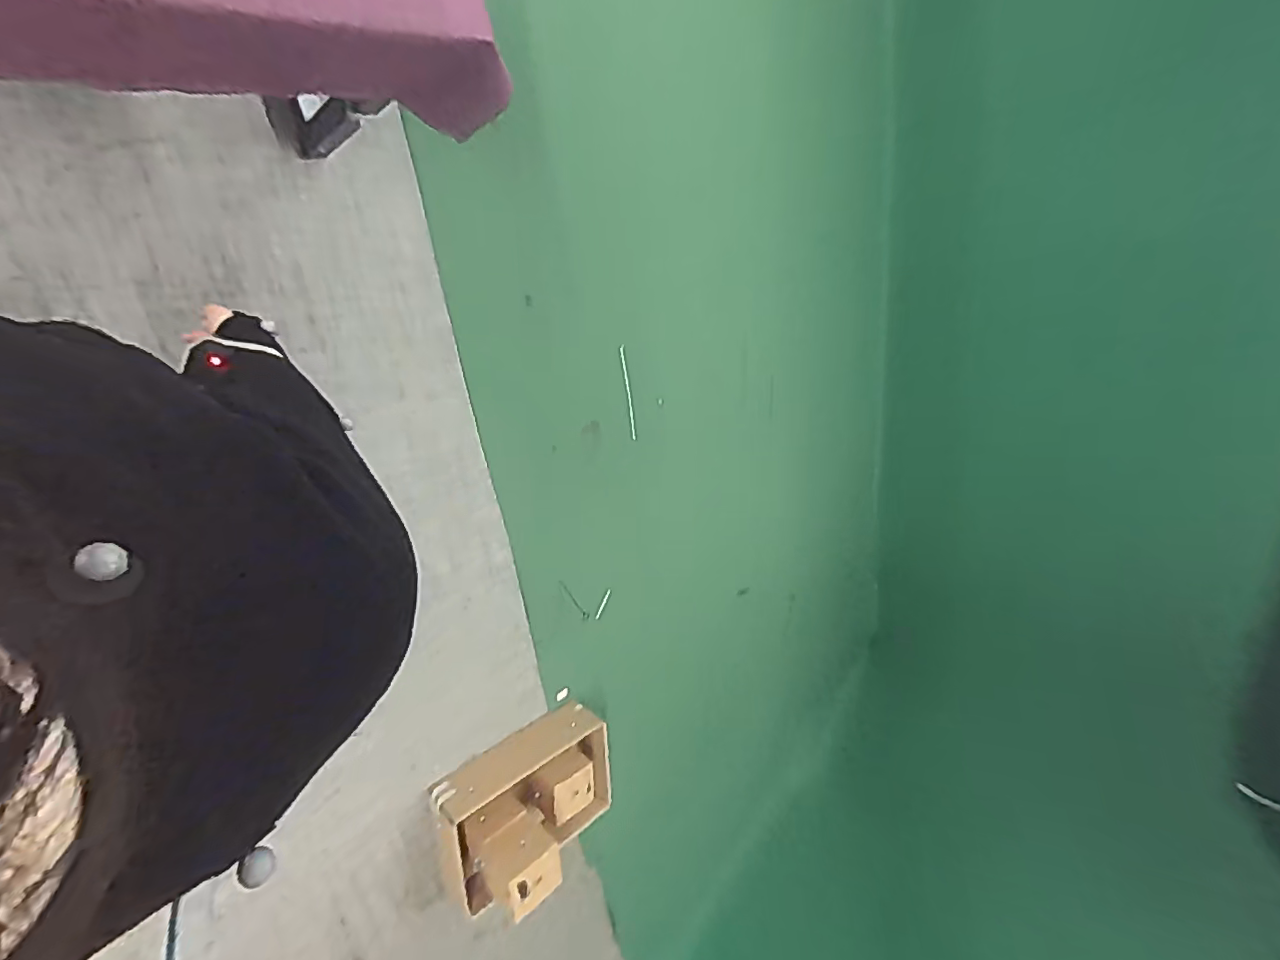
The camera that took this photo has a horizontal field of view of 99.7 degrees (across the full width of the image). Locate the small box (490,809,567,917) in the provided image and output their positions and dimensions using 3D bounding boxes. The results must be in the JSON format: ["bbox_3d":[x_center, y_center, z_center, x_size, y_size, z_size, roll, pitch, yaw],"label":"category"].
[{"bbox_3d":[-0.354,1.189,1.692,0.179,0.176,0.168,-19,112,-43],"label":"small box"}]
